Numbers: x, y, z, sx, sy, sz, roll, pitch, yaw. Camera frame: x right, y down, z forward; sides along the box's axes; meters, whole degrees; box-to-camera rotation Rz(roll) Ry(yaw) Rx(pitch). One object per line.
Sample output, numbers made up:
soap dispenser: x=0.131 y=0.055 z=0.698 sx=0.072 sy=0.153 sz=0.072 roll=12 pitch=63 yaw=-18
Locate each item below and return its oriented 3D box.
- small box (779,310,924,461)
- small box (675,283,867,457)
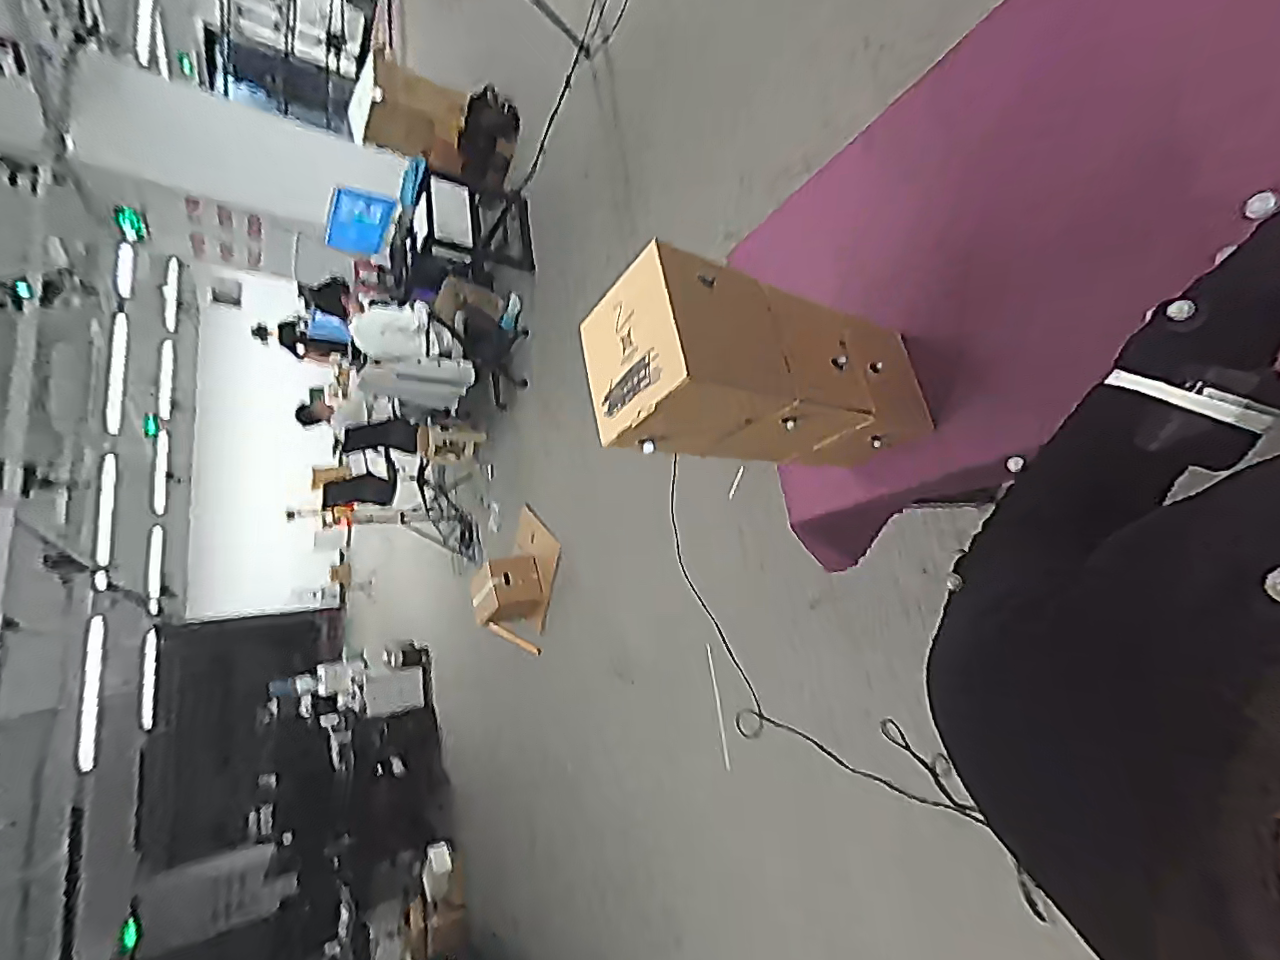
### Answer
small box: x=0.313 y=-0.137 z=0.854 sx=0.168 sy=0.176 sz=0.179 roll=-30 pitch=65 yaw=49
small box: x=0.180 y=-0.139 z=0.761 sx=0.179 sy=0.176 sz=0.168 roll=-32 pitch=64 yaw=47
